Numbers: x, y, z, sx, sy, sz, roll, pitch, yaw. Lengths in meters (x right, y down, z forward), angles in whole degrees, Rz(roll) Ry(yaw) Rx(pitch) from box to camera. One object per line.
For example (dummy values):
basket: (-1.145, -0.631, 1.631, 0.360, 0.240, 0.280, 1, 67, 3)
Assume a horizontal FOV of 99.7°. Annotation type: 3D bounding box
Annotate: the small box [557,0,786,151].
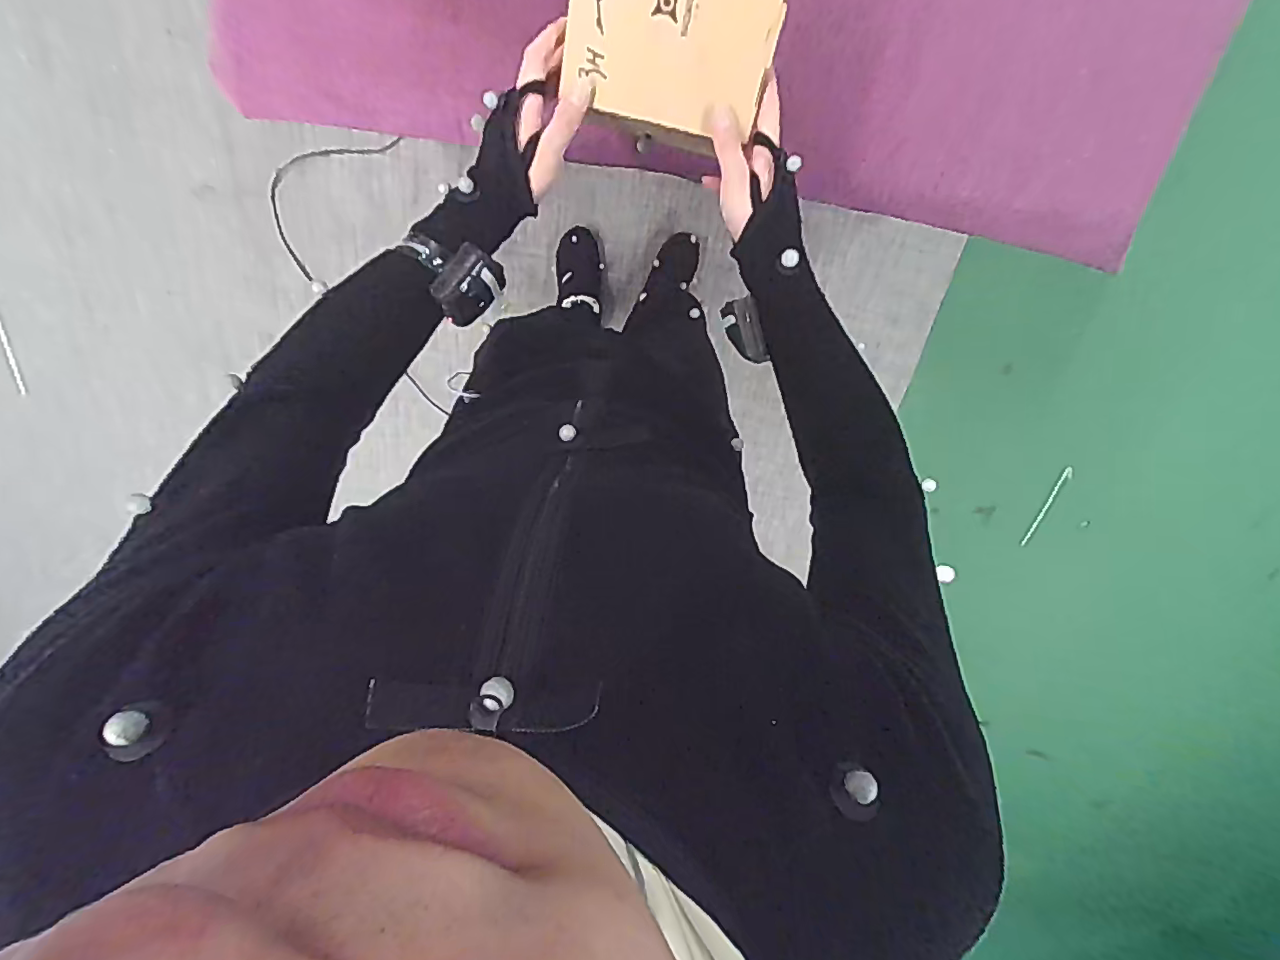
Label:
small box: (0.025, -0.426, 0.513, 0.179, 0.176, 0.168, 9, 118, -9)
